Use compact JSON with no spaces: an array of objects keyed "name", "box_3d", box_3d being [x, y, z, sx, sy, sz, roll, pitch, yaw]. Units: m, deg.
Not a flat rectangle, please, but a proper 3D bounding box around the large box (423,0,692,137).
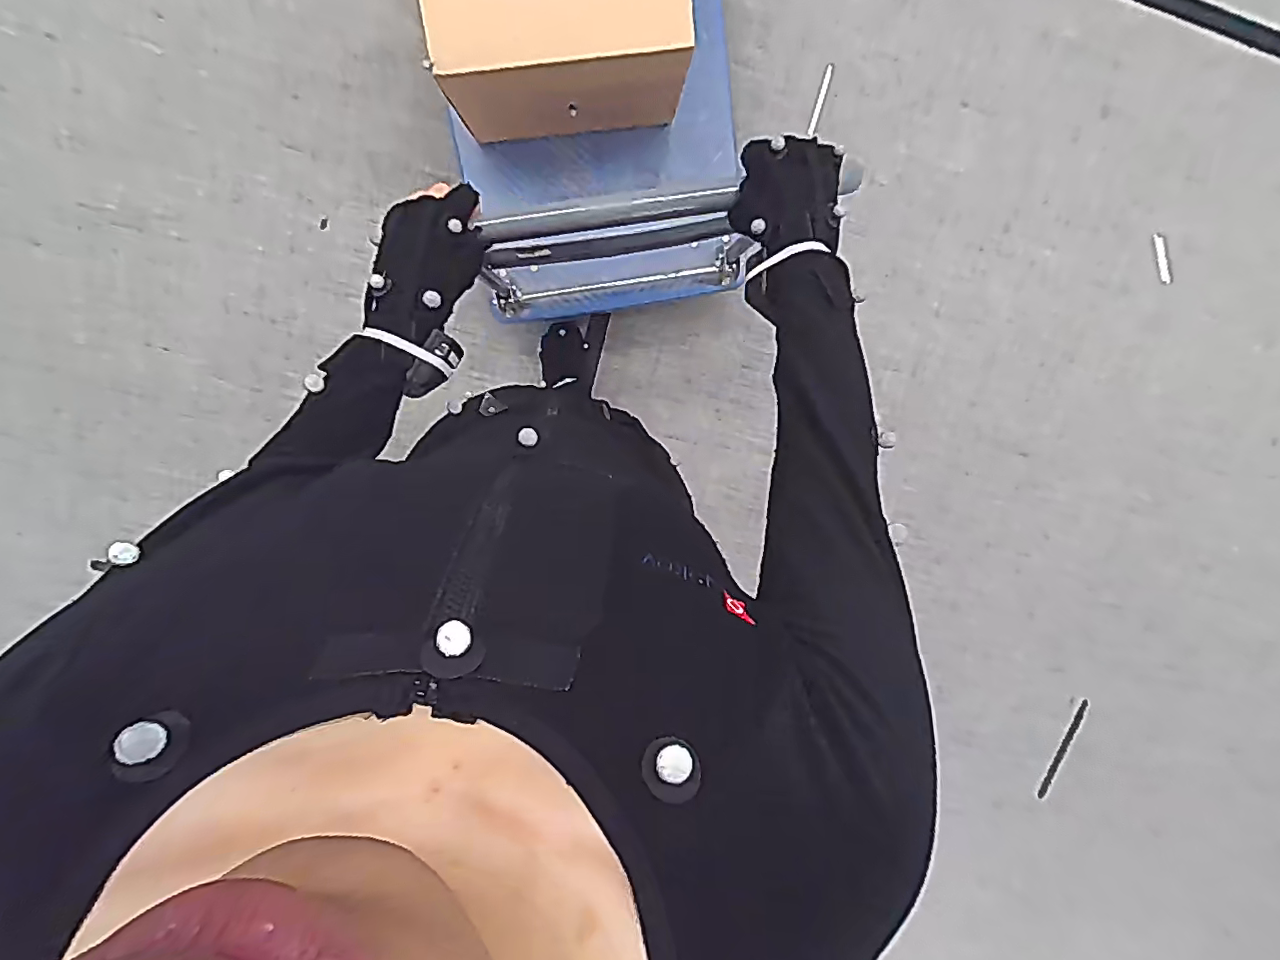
[{"name":"large box","box_3d":[-0.140,-0.834,0.935,0.408,0.320,0.320,-7,105,0]}]
